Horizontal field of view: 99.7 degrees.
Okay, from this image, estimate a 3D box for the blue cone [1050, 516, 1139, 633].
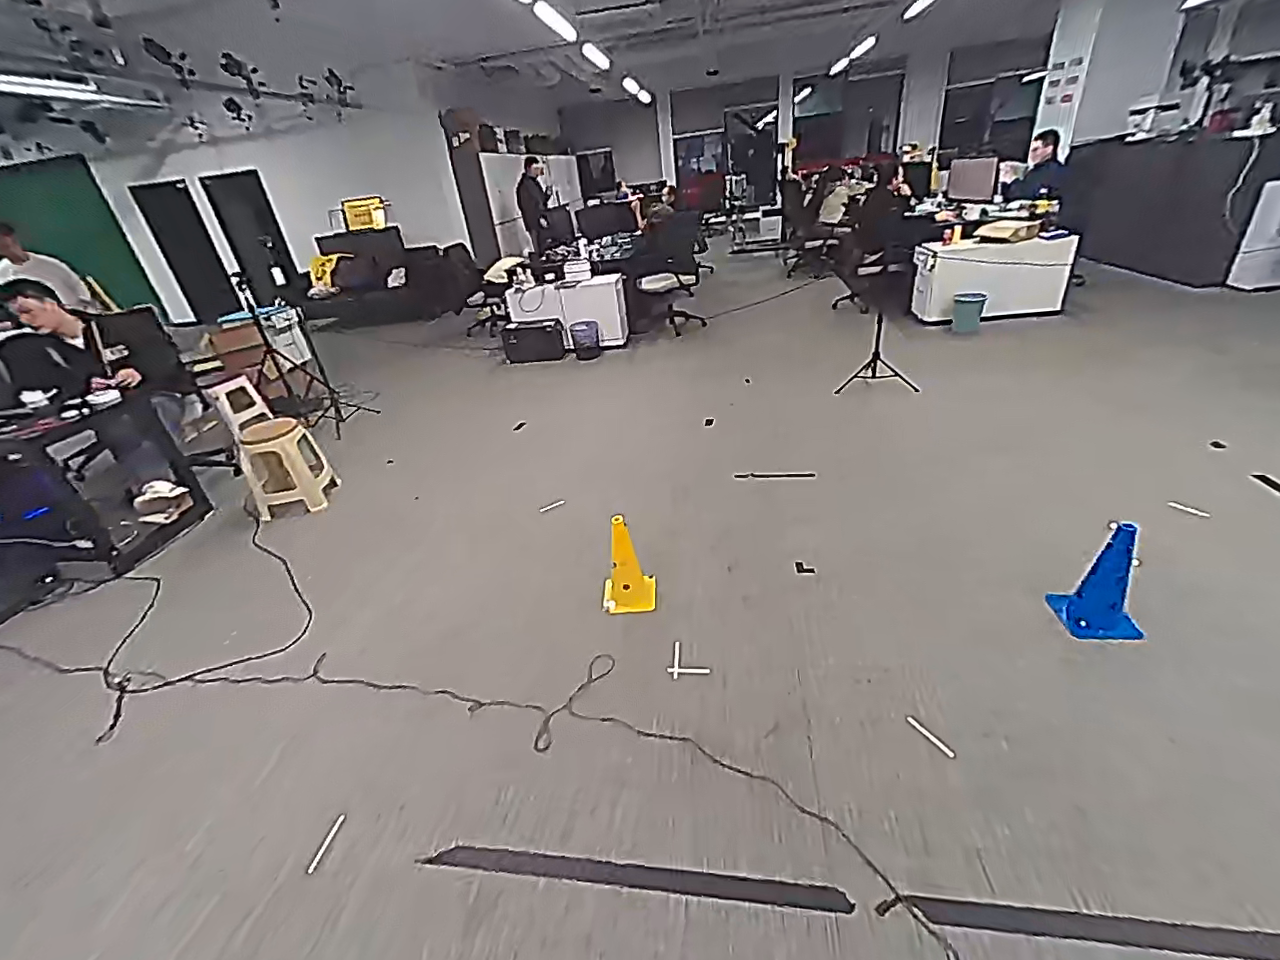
[{"bbox_3d":[1.446,0.282,1.666,0.193,0.380,0.192,-2,29,11],"label":"blue cone"}]
